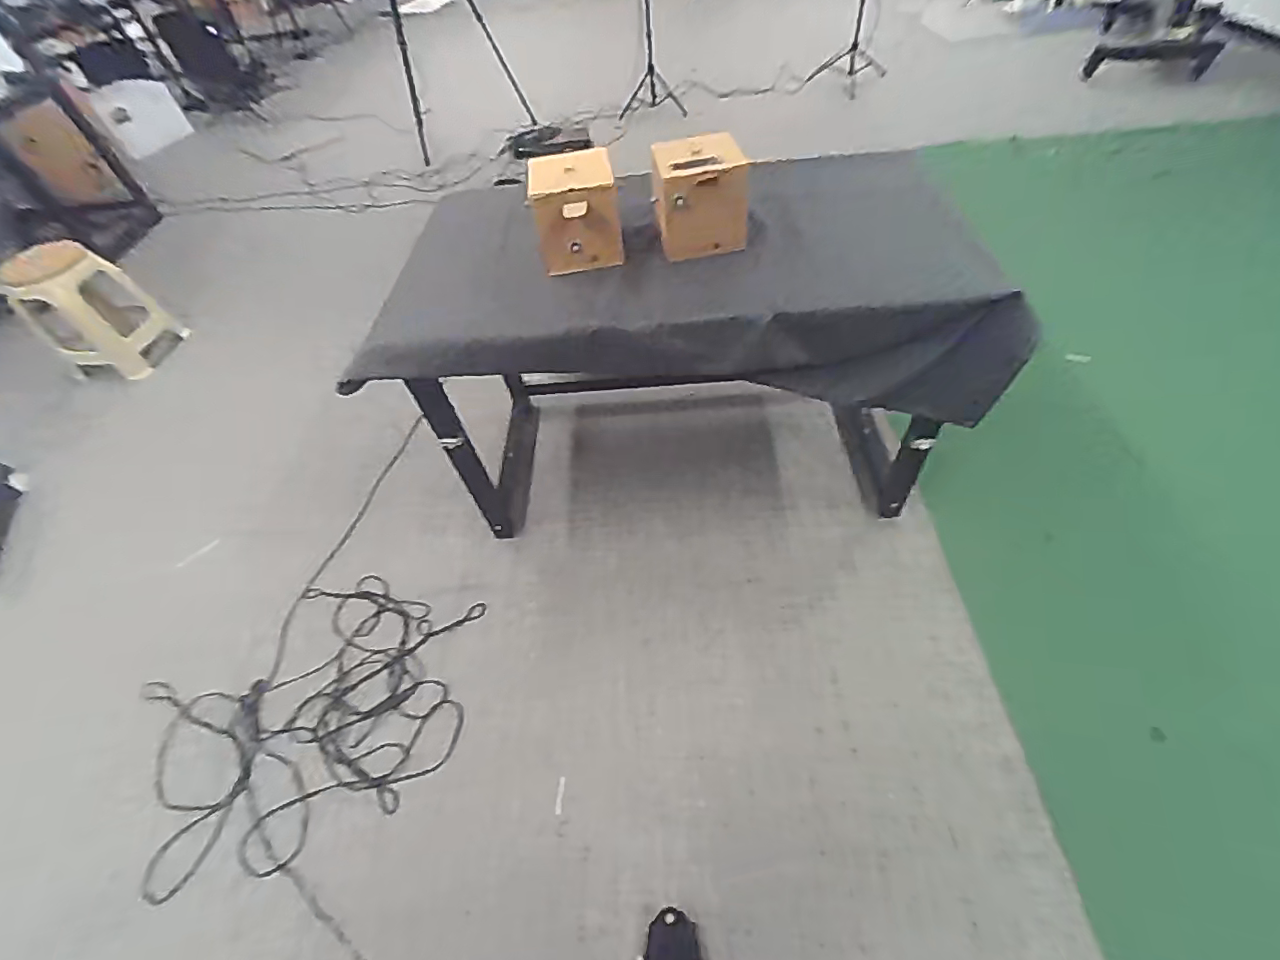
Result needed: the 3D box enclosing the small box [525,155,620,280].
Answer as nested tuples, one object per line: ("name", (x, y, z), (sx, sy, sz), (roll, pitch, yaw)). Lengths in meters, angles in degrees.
("small box", (-0.138, -0.544, 1.125), (0.168, 0.176, 0.179), (-10, 51, -1))
